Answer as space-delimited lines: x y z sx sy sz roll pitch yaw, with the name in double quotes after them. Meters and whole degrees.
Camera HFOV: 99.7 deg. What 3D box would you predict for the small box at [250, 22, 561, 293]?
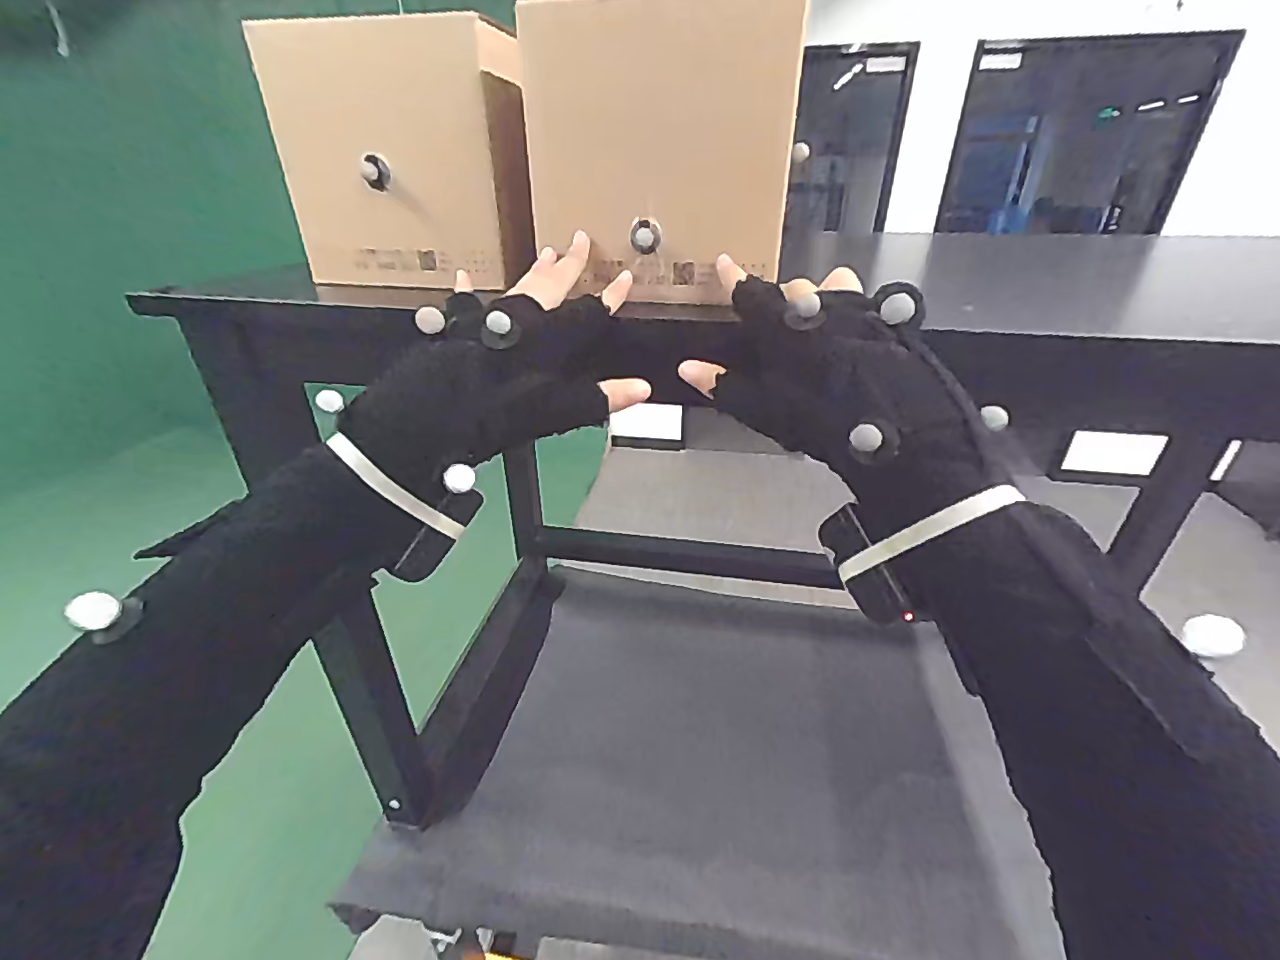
-0.170 -0.262 0.463 0.168 0.176 0.179 6 29 8 "small box"
